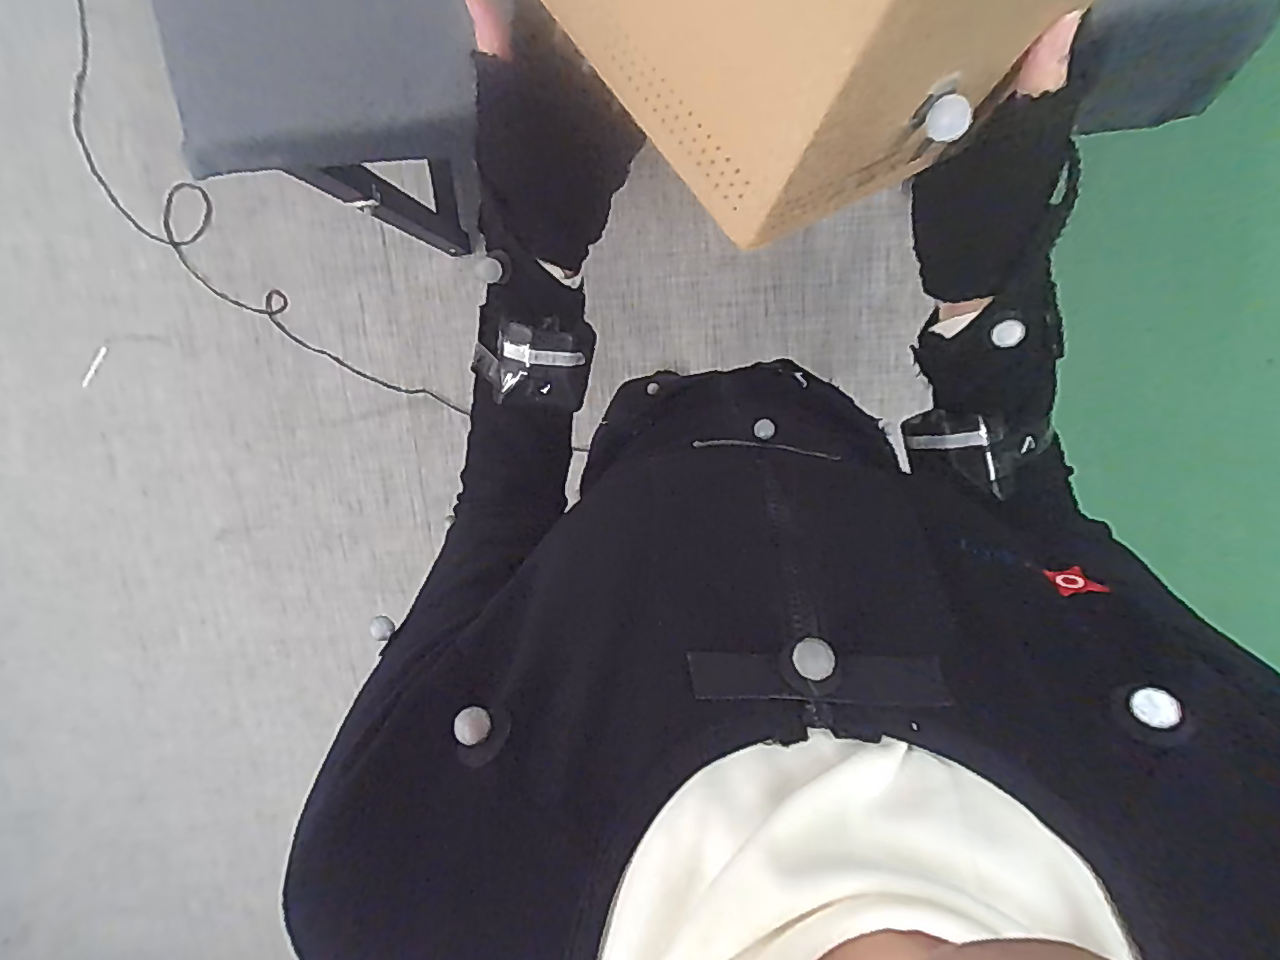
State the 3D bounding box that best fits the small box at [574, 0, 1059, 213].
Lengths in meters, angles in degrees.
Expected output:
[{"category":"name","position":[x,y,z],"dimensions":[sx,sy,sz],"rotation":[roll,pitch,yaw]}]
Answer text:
[{"category":"small box","position":[0.078,-0.248,0.207],"dimensions":[0.168,0.176,0.179],"rotation":[-33,82,-20]}]
